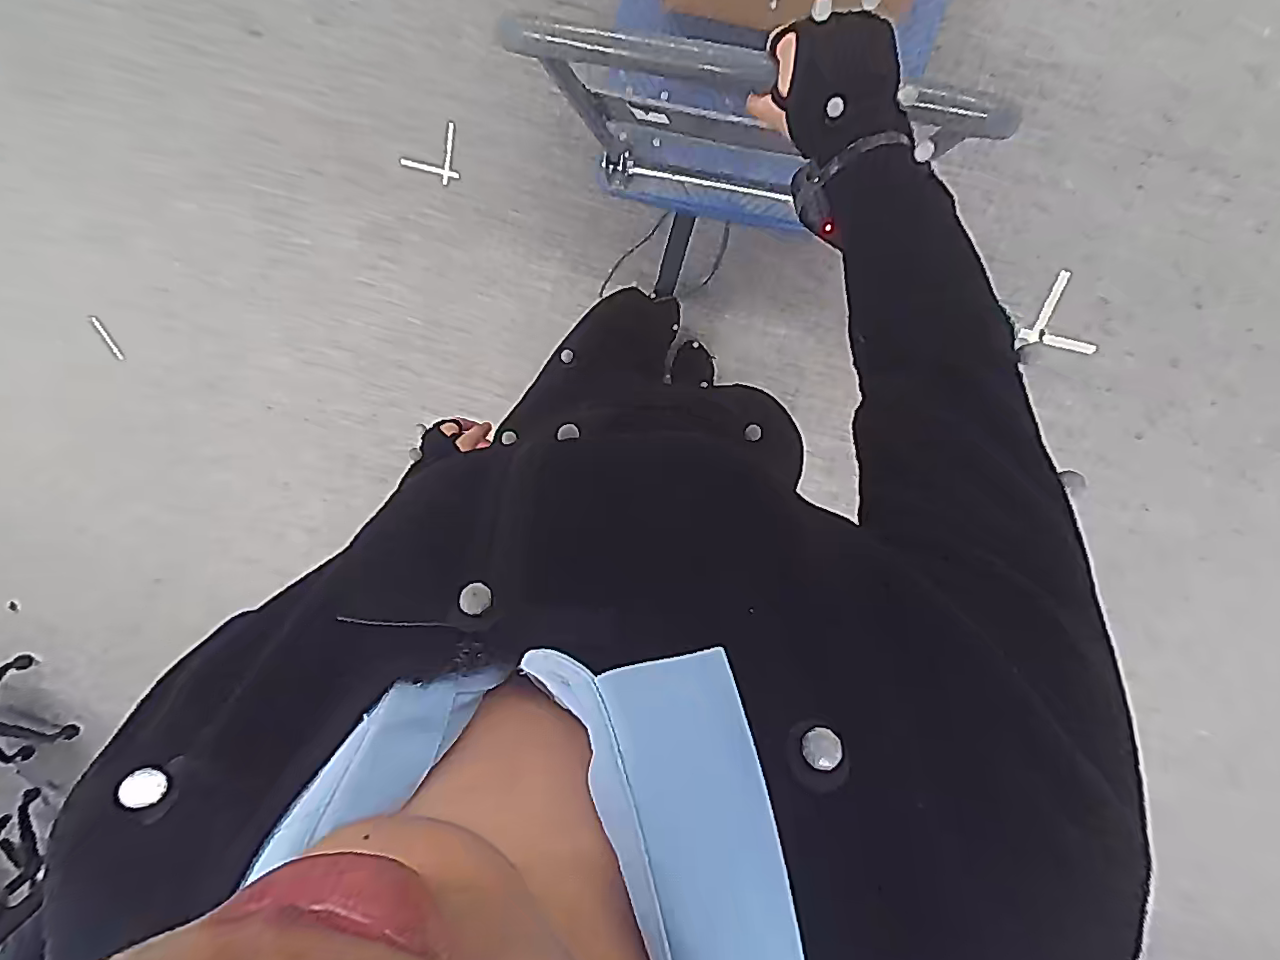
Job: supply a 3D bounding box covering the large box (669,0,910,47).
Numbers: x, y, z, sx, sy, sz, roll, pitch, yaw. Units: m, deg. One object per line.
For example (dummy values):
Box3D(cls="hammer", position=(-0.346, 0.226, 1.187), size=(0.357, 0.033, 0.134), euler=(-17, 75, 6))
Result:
Box3D(cls="large box", position=(0.255, -0.925, 0.817), size=(0.408, 0.320, 0.320), euler=(15, 111, 4))
